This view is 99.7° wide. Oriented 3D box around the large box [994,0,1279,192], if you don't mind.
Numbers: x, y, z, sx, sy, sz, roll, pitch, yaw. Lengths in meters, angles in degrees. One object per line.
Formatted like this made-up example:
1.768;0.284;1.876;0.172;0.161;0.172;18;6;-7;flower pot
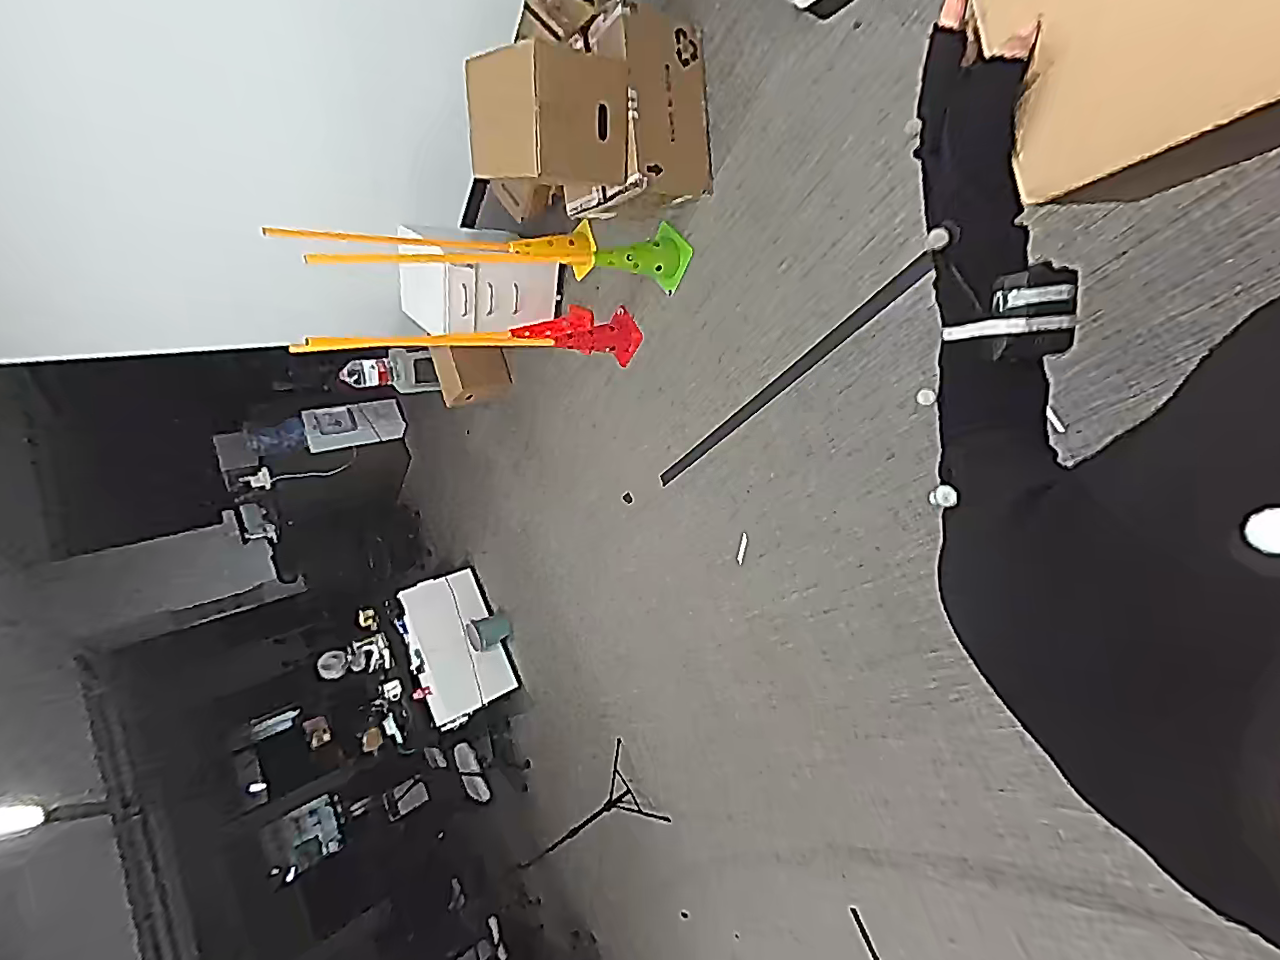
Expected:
0.455;-0.410;0.289;0.408;0.320;0.320;-9;101;53;large box
